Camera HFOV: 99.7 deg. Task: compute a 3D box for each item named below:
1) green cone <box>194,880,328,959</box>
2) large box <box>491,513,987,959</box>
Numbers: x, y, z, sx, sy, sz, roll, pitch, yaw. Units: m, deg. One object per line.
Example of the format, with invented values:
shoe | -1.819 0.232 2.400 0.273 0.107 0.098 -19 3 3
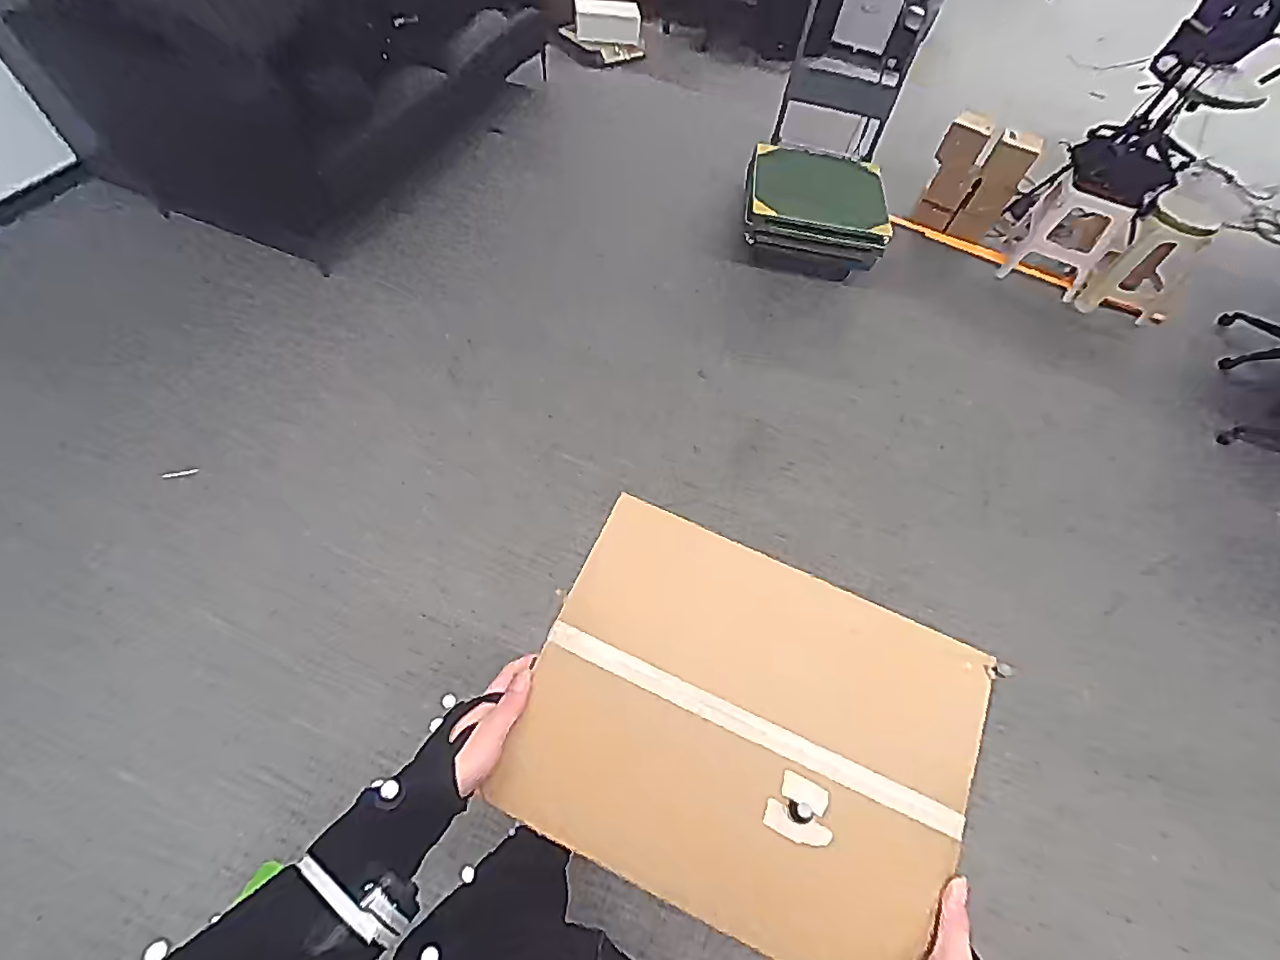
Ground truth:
green cone | -0.786 0.910 0.999 0.200 0.368 0.202 26 60 10
large box | 0.099 0.290 0.645 0.408 0.320 0.320 23 70 7
